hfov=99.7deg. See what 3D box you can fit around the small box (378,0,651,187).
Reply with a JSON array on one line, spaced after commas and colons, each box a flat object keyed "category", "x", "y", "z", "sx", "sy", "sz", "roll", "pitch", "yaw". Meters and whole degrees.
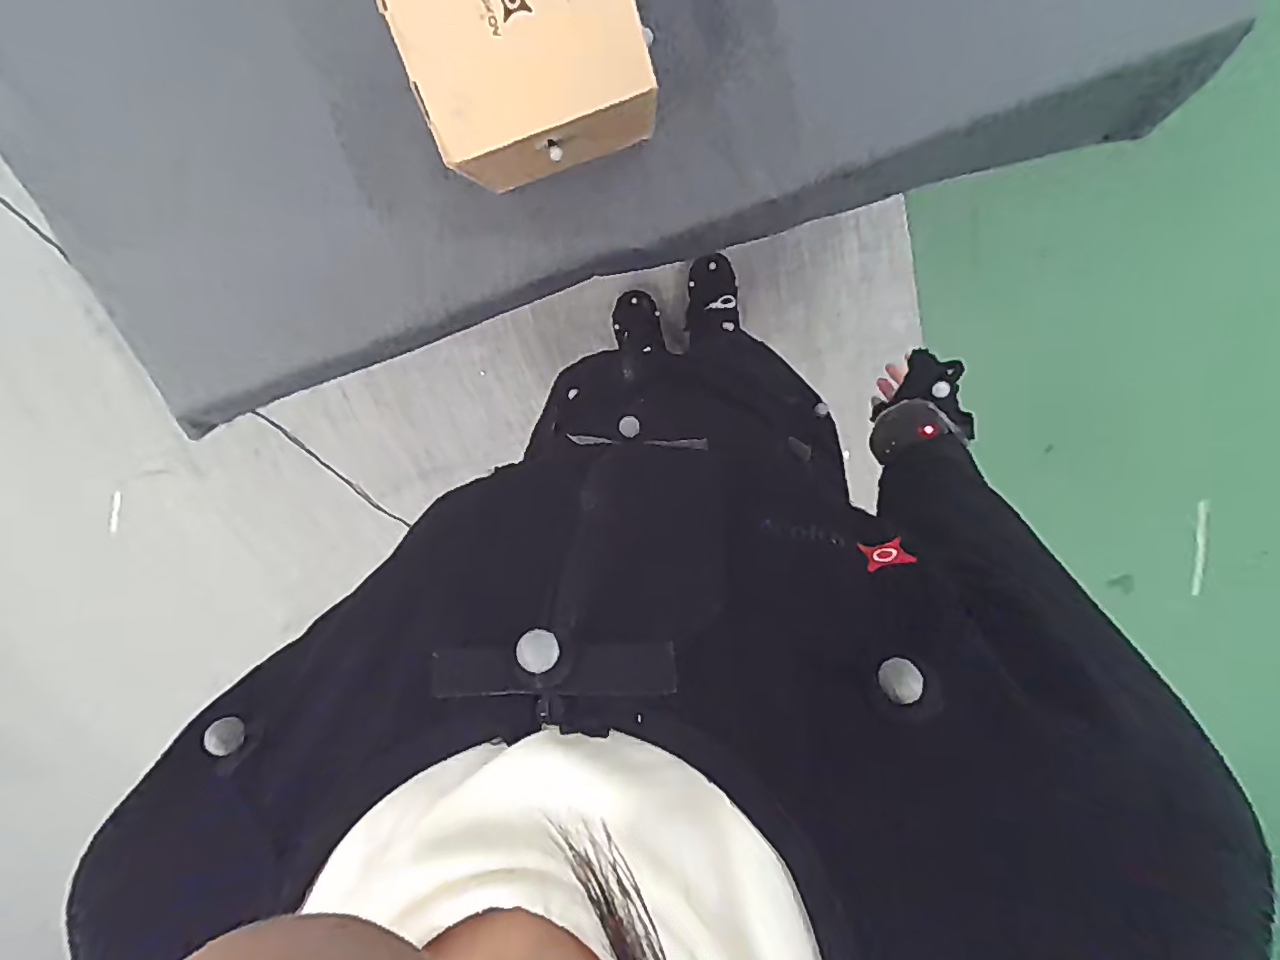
[{"category": "small box", "x": -0.095, "y": -0.371, "z": 0.464, "sx": 0.179, "sy": 0.176, "sz": 0.168, "roll": -17, "pitch": 112, "yaw": 6}]
